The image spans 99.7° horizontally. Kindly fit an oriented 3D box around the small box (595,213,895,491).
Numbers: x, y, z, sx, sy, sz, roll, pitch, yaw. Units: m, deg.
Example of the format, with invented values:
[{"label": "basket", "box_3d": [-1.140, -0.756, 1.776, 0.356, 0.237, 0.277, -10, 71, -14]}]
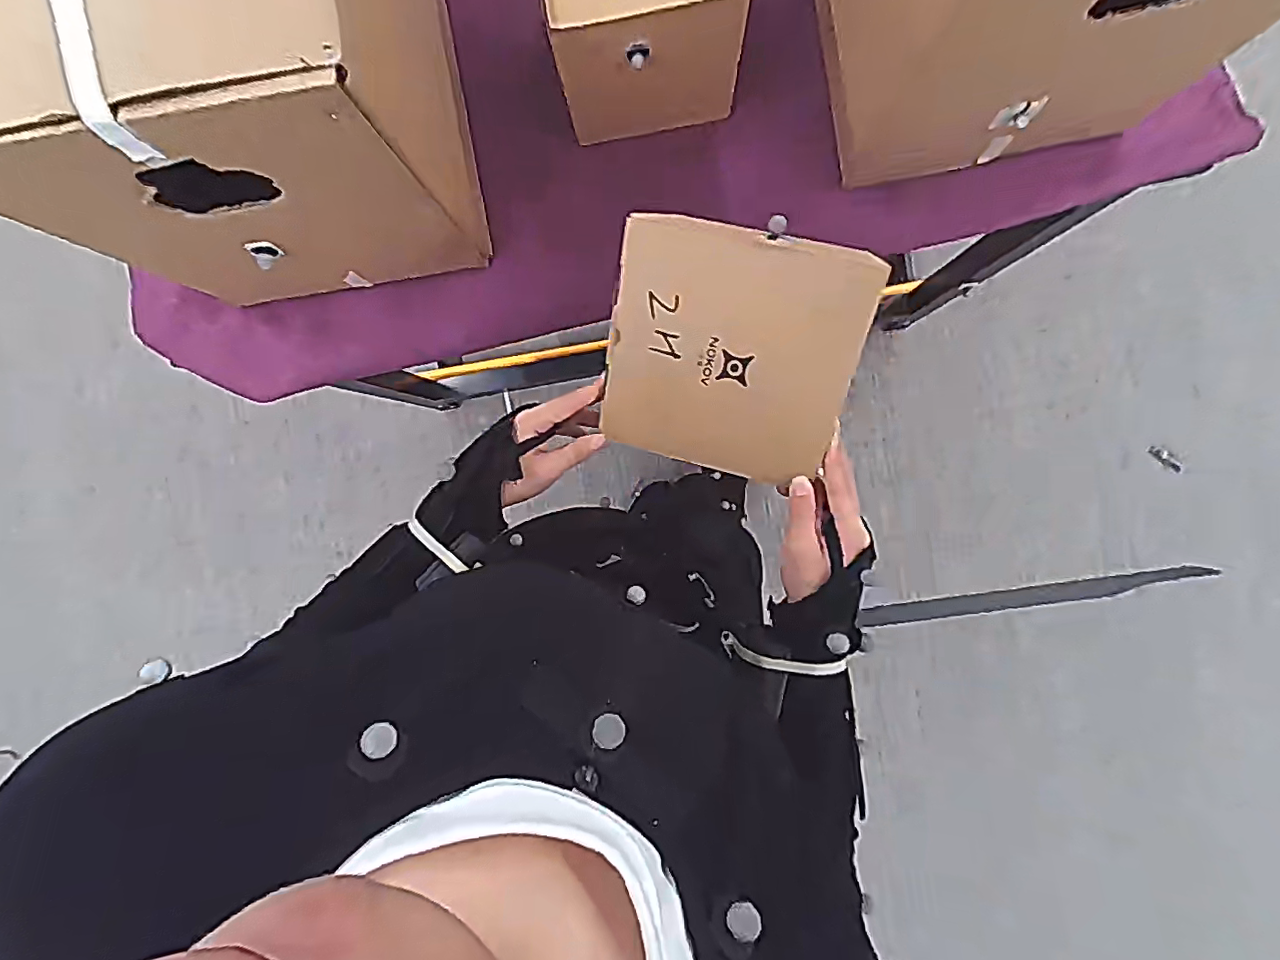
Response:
[{"label": "small box", "box_3d": [0.080, -0.117, 0.446, 0.179, 0.176, 0.168, 16, 118, 9]}]
